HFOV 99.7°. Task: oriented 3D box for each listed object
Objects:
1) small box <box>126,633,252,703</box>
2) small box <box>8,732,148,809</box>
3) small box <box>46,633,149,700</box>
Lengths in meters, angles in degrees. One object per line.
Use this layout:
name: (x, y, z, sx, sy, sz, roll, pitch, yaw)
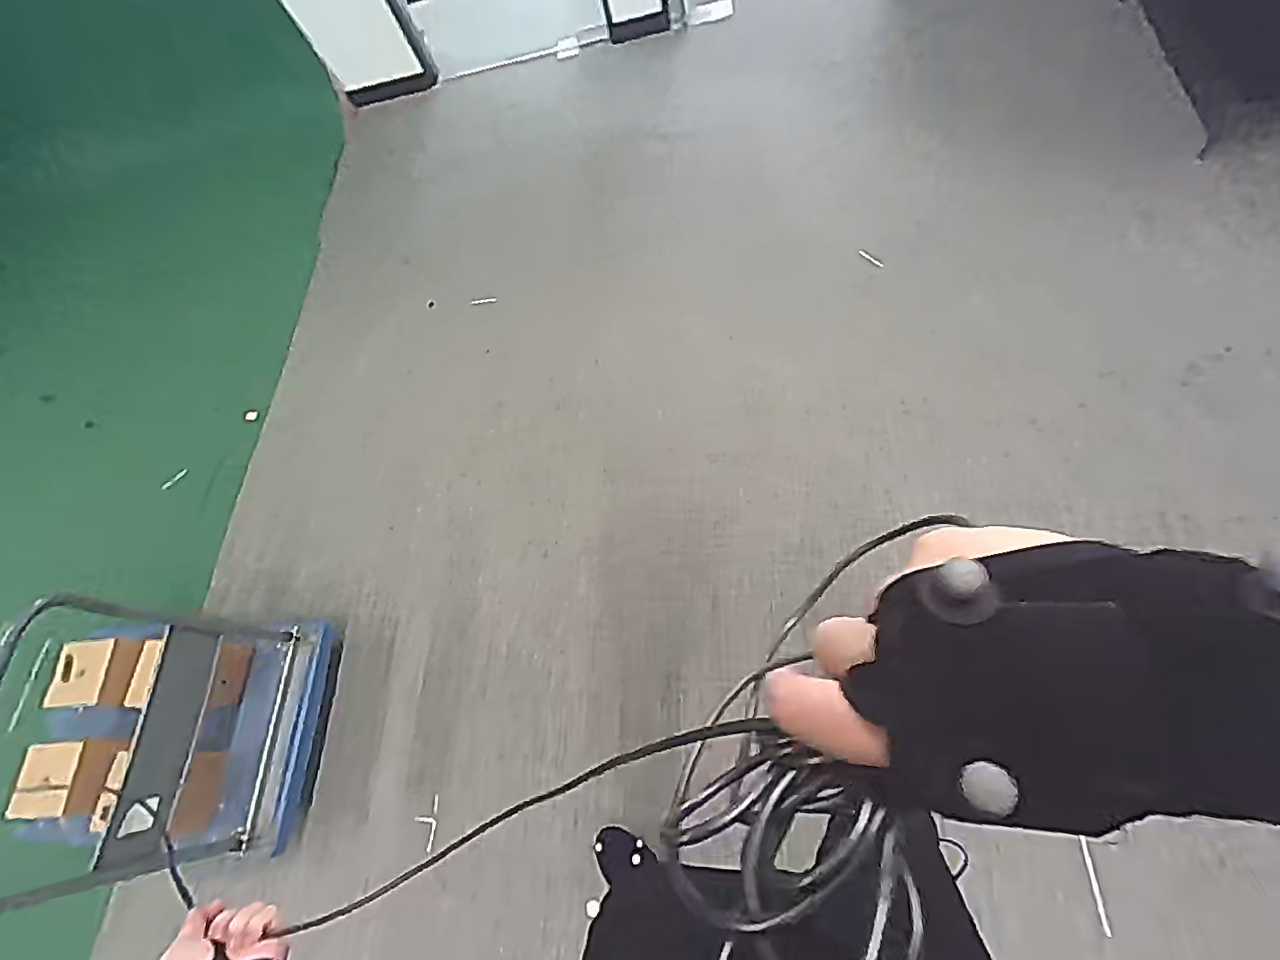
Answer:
small box: (-1.216, 0.514, 1.471, 0.179, 0.176, 0.168, -2, 68, 11)
small box: (-1.469, 0.761, 1.427, 0.179, 0.176, 0.168, -7, 66, 10)
small box: (-1.481, 0.529, 1.524, 0.179, 0.176, 0.168, -6, 68, 9)
